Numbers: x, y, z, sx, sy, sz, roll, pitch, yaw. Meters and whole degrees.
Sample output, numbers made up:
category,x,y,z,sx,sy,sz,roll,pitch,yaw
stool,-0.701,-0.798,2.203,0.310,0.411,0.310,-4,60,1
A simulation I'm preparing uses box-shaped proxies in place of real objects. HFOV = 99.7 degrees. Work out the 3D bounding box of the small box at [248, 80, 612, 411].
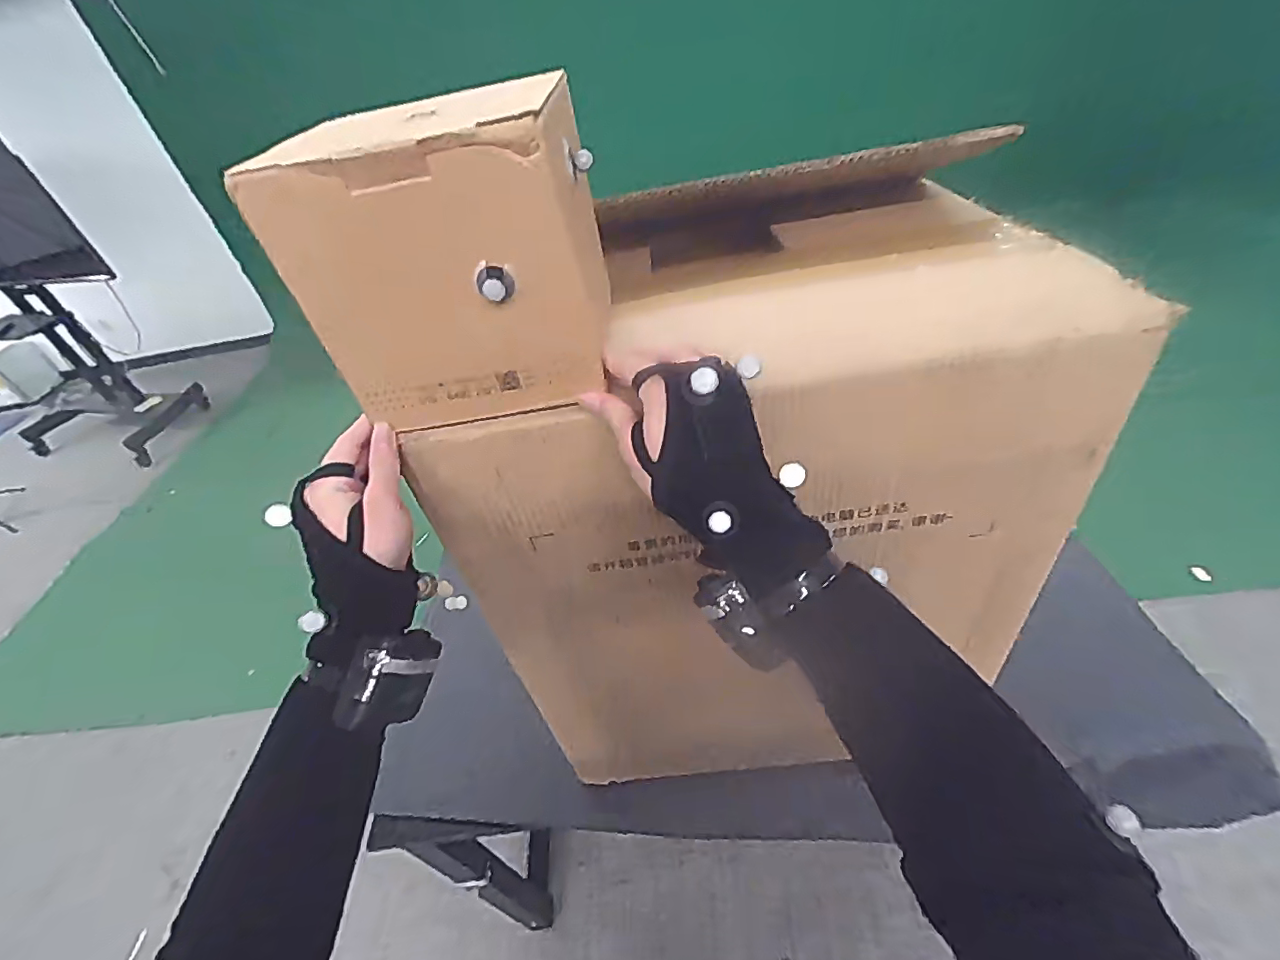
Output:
category,x,y,z,sx,sy,sz,roll,pitch,yaw
small box,-0.116,-0.162,0.391,0.168,0.176,0.179,-8,40,5
